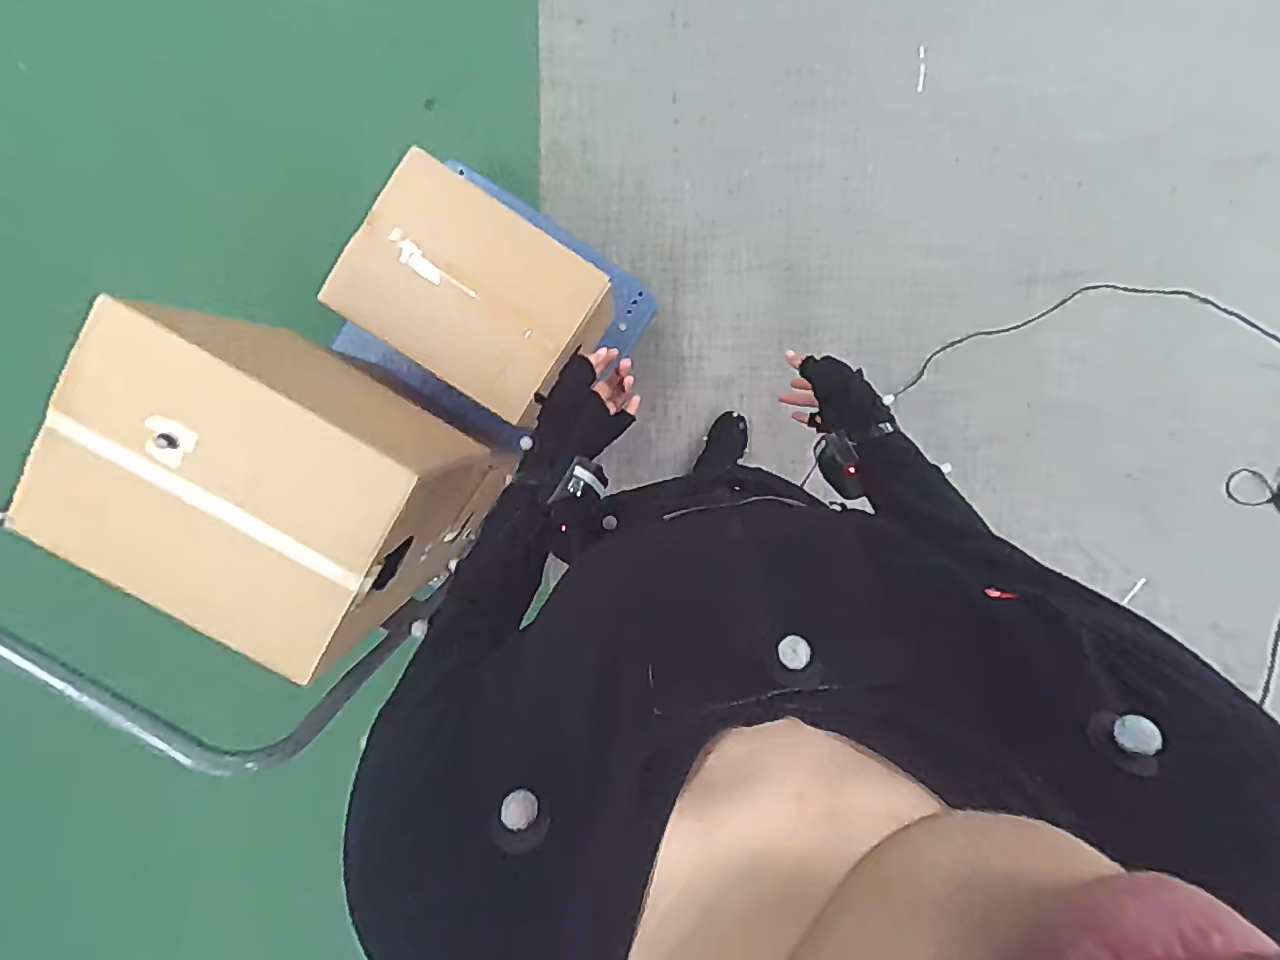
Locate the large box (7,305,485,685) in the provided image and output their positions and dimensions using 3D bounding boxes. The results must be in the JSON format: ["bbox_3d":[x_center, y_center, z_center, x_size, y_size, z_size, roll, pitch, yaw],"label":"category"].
[{"bbox_3d":[-0.505,0.009,0.781,0.408,0.320,0.320,31,96,-3],"label":"large box"}]
